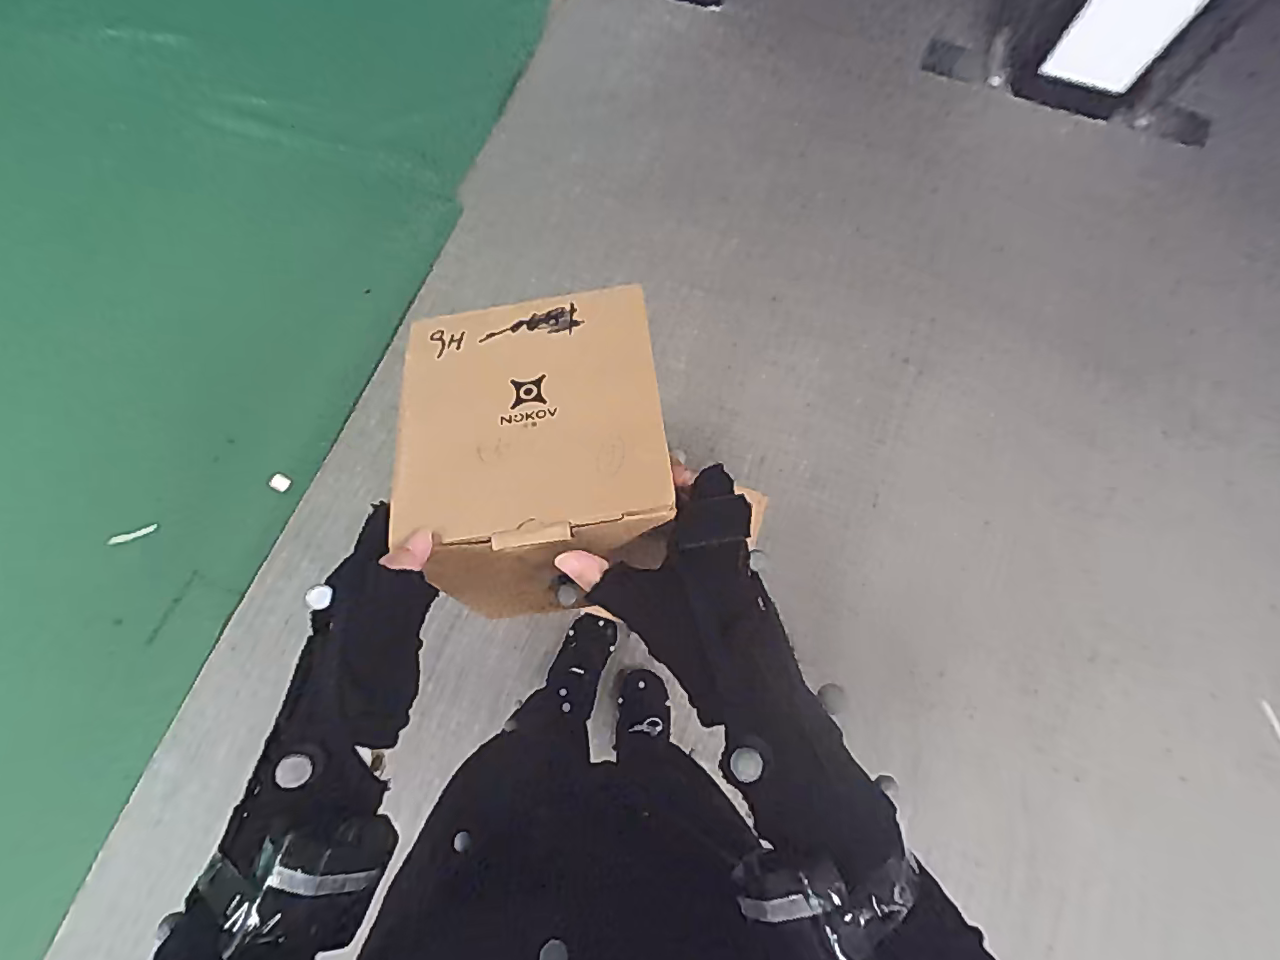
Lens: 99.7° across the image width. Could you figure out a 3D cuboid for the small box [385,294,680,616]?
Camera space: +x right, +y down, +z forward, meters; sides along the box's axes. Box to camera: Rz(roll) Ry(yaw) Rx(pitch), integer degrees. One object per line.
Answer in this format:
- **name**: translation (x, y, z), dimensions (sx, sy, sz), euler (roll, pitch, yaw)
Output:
- **small box**: translation (-0.065, -0.003, 0.406), dimensions (0.168, 0.176, 0.179), euler (-10, 64, 2)
